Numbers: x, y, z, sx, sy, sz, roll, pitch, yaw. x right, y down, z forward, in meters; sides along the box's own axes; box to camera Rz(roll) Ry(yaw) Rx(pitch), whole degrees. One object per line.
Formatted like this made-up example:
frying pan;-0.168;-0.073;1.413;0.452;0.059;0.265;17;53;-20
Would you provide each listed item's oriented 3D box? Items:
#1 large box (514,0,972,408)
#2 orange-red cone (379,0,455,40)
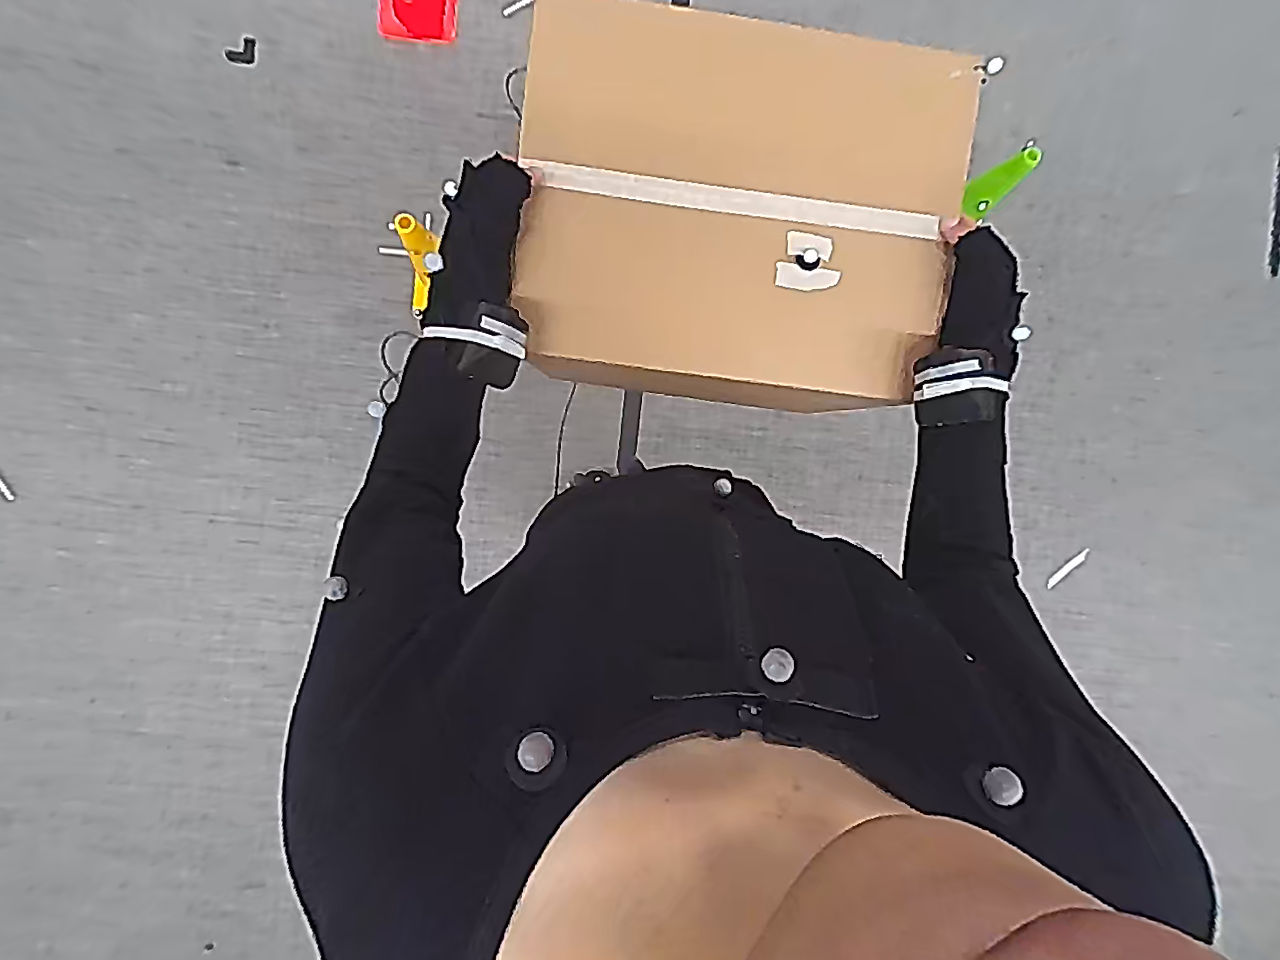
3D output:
large box;0.086;-0.266;0.645;0.408;0.320;0.320;7;95;-3
orange-red cone;-0.581;-1.267;1.261;0.198;0.360;0.199;3;92;-3
